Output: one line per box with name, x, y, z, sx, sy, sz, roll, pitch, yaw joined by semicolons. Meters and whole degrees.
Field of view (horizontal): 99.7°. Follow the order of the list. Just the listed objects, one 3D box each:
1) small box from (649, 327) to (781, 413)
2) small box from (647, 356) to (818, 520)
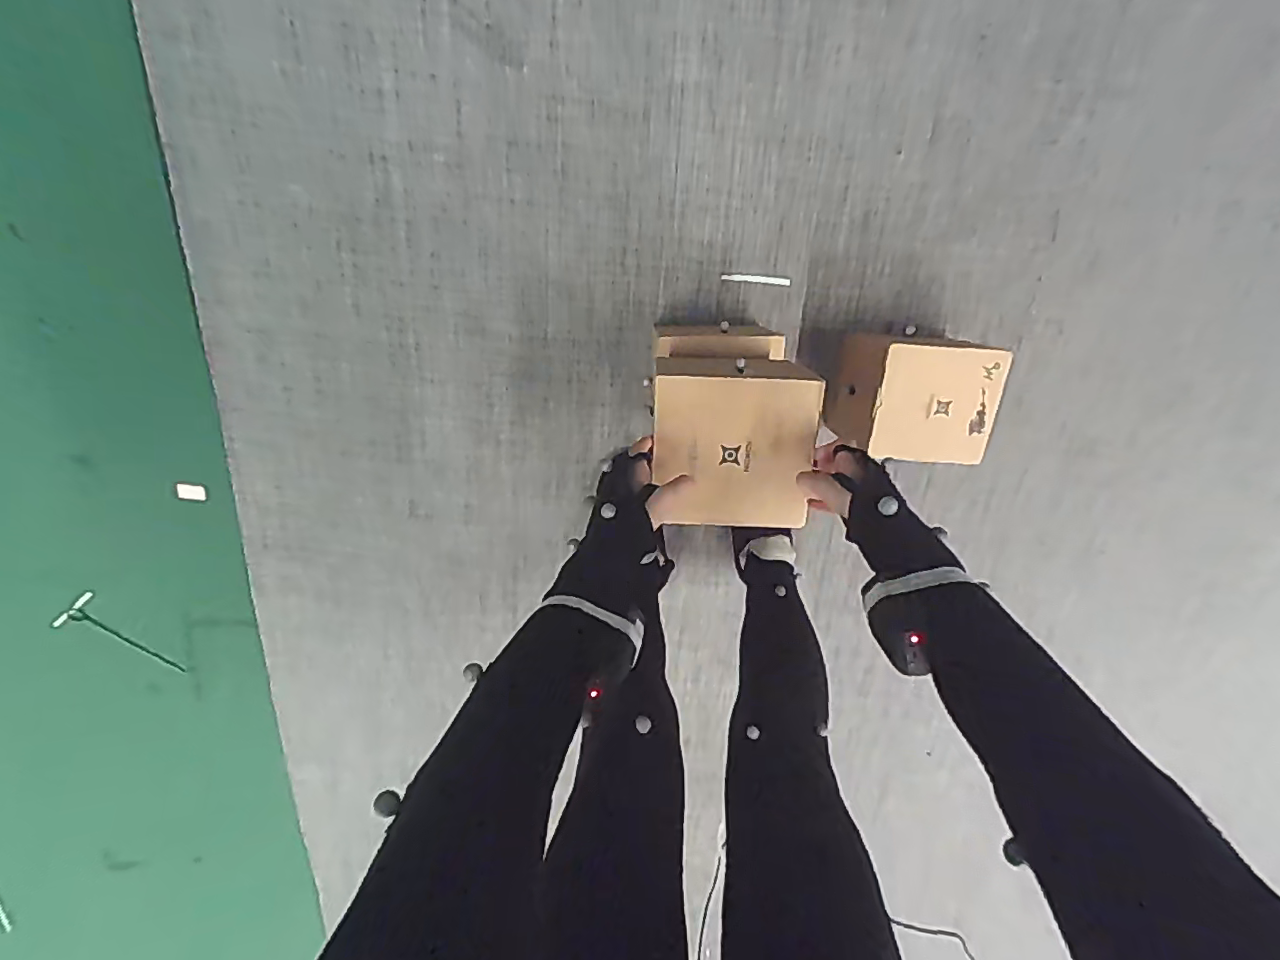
small box;0.105;-0.147;0.840;0.179;0.176;0.168;0;110;0
small box;0.100;-0.060;0.668;0.179;0.176;0.168;2;109;1
